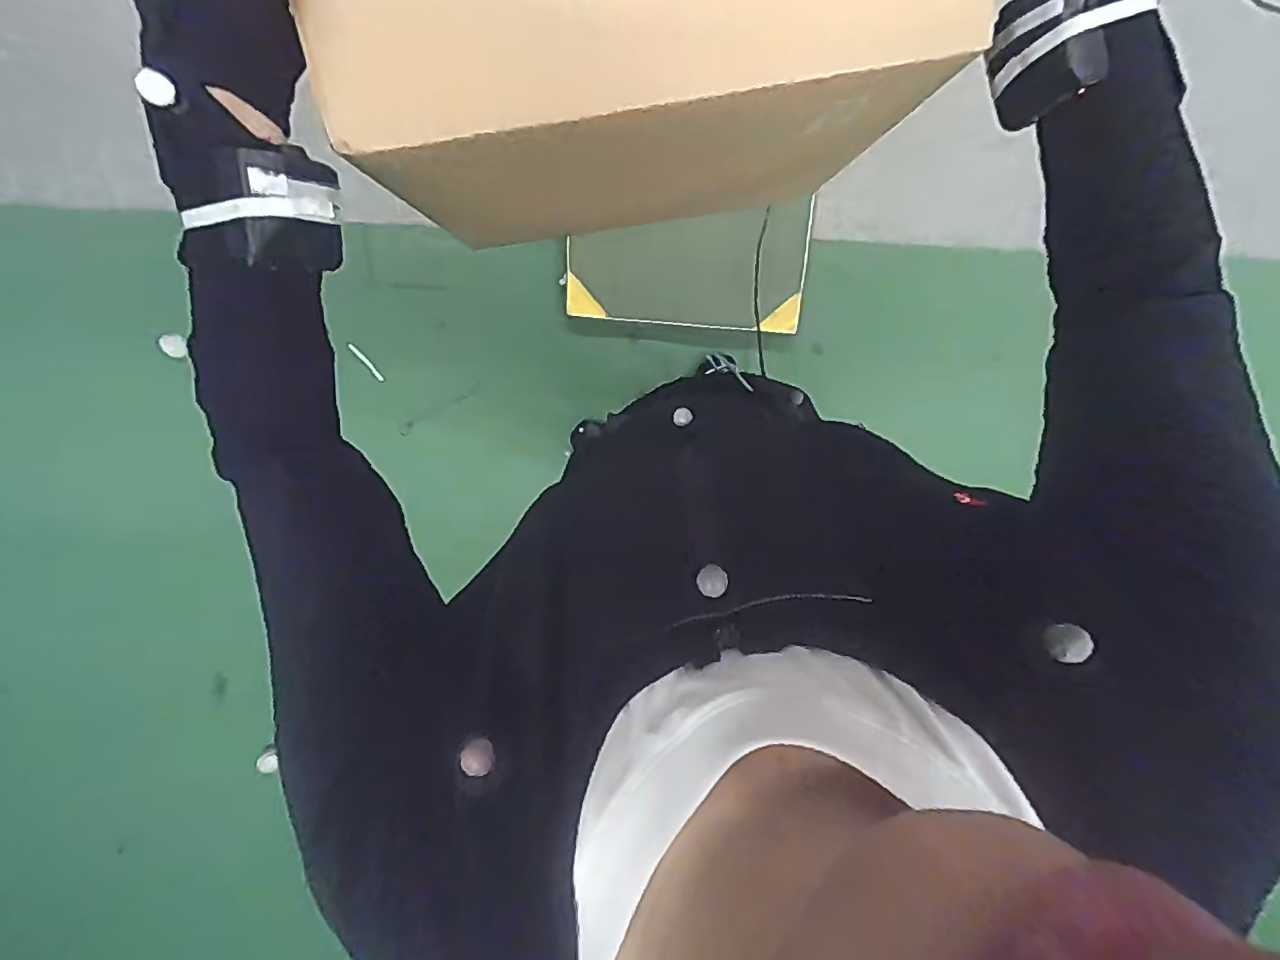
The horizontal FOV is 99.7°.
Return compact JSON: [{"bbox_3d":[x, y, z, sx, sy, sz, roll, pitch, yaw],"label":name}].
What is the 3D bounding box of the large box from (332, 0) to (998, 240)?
[{"bbox_3d":[-0.007,-0.420,0.444,0.408,0.320,0.320,-9,104,-1],"label":"large box"}]
